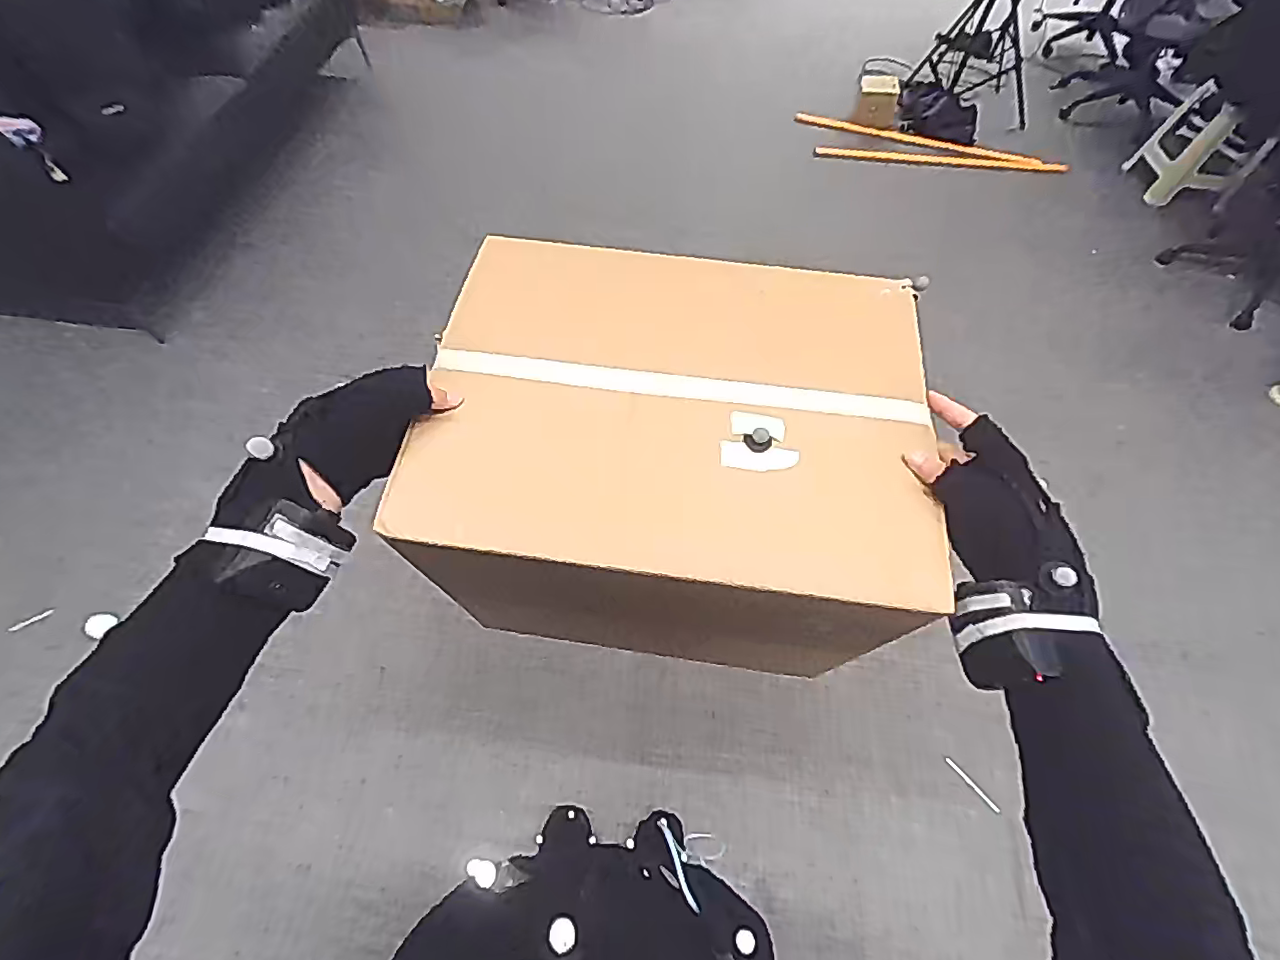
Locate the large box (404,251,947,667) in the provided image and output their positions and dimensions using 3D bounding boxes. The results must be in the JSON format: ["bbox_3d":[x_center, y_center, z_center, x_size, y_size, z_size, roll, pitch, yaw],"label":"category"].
[{"bbox_3d":[0.034,-0.002,0.588,0.408,0.320,0.320,8,63,2],"label":"large box"}]
